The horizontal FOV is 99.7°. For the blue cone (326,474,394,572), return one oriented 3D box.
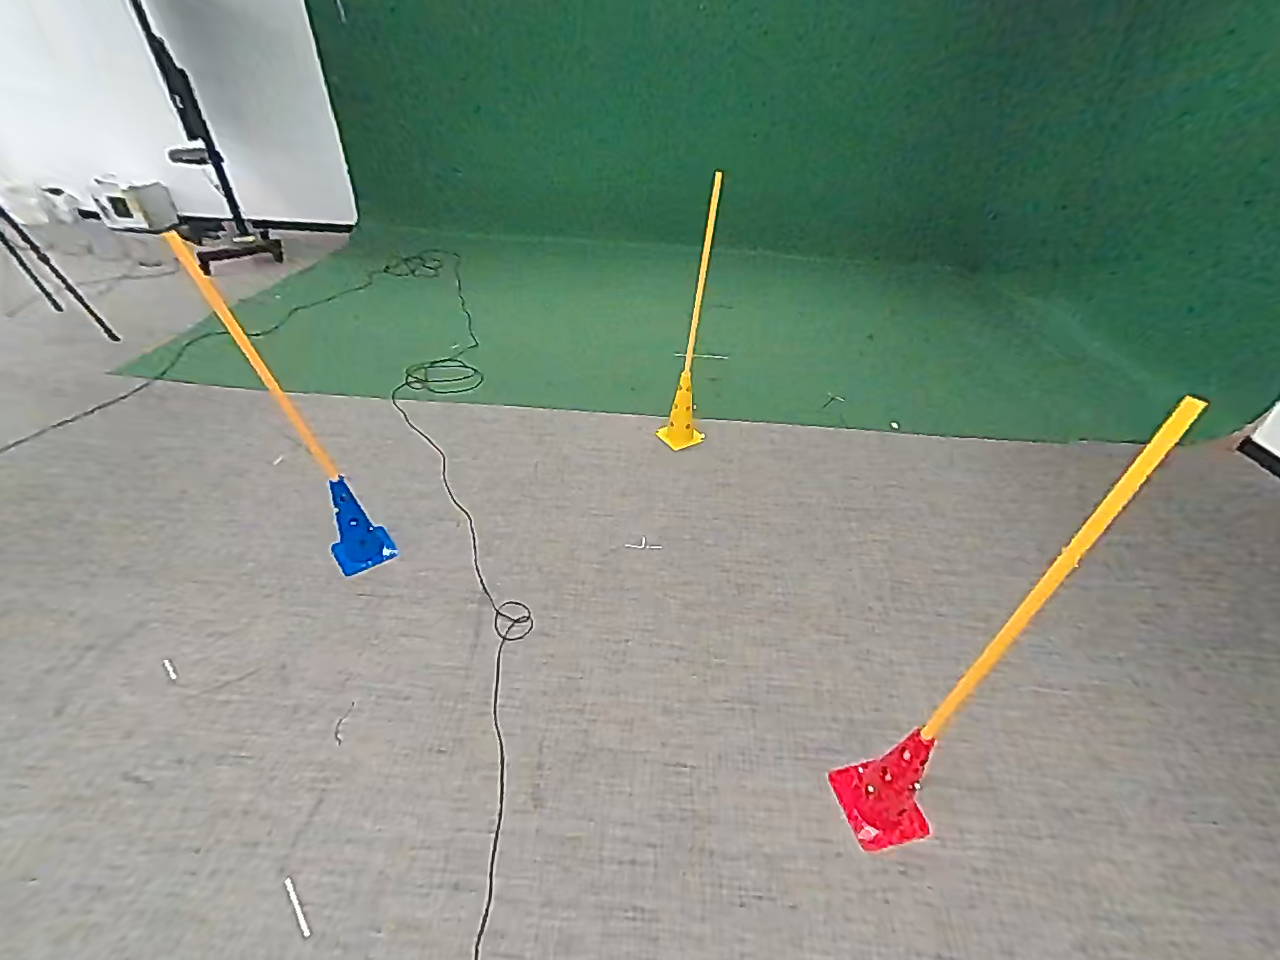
[{"bbox_3d":[-1.045,0.137,1.944,0.193,0.380,0.192,-28,49,-30],"label":"blue cone"}]
